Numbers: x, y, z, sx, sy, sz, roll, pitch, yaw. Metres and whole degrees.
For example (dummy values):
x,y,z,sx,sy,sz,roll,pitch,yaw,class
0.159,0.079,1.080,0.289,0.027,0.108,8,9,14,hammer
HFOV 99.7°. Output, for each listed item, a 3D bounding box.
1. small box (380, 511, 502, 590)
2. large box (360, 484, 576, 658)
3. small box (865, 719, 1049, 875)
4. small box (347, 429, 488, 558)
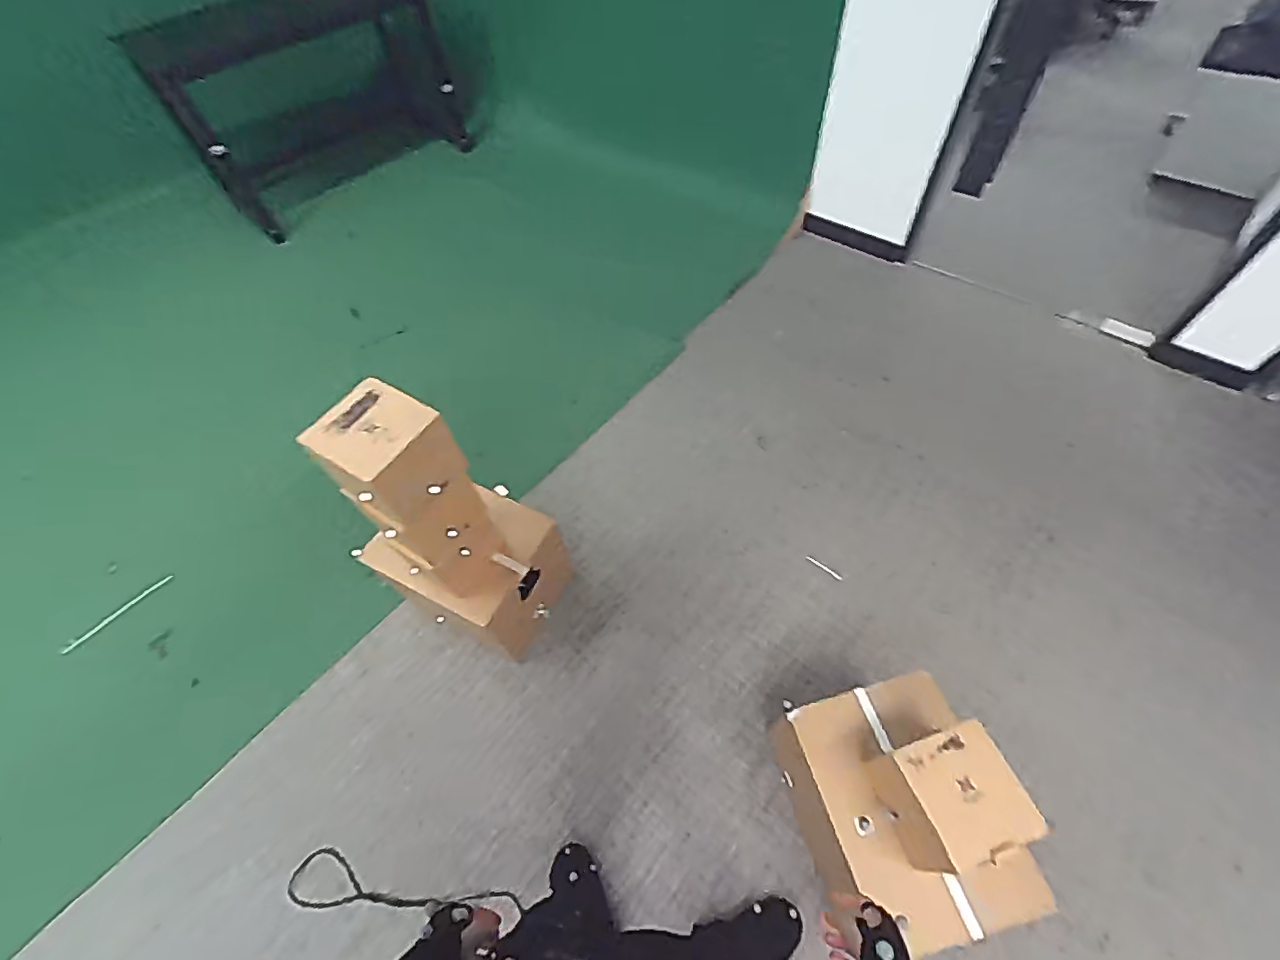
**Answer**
x,y,z,sx,sy,sz,roll,pitch,yaw,class
-0.445,0.125,1.243,0.168,0.176,0.179,27,63,19,small box
-0.440,0.227,1.470,0.408,0.320,0.320,21,59,18,large box
0.517,0.530,0.912,0.168,0.176,0.179,-16,58,-9,small box
-0.447,0.033,1.110,0.179,0.176,0.168,29,63,20,small box
